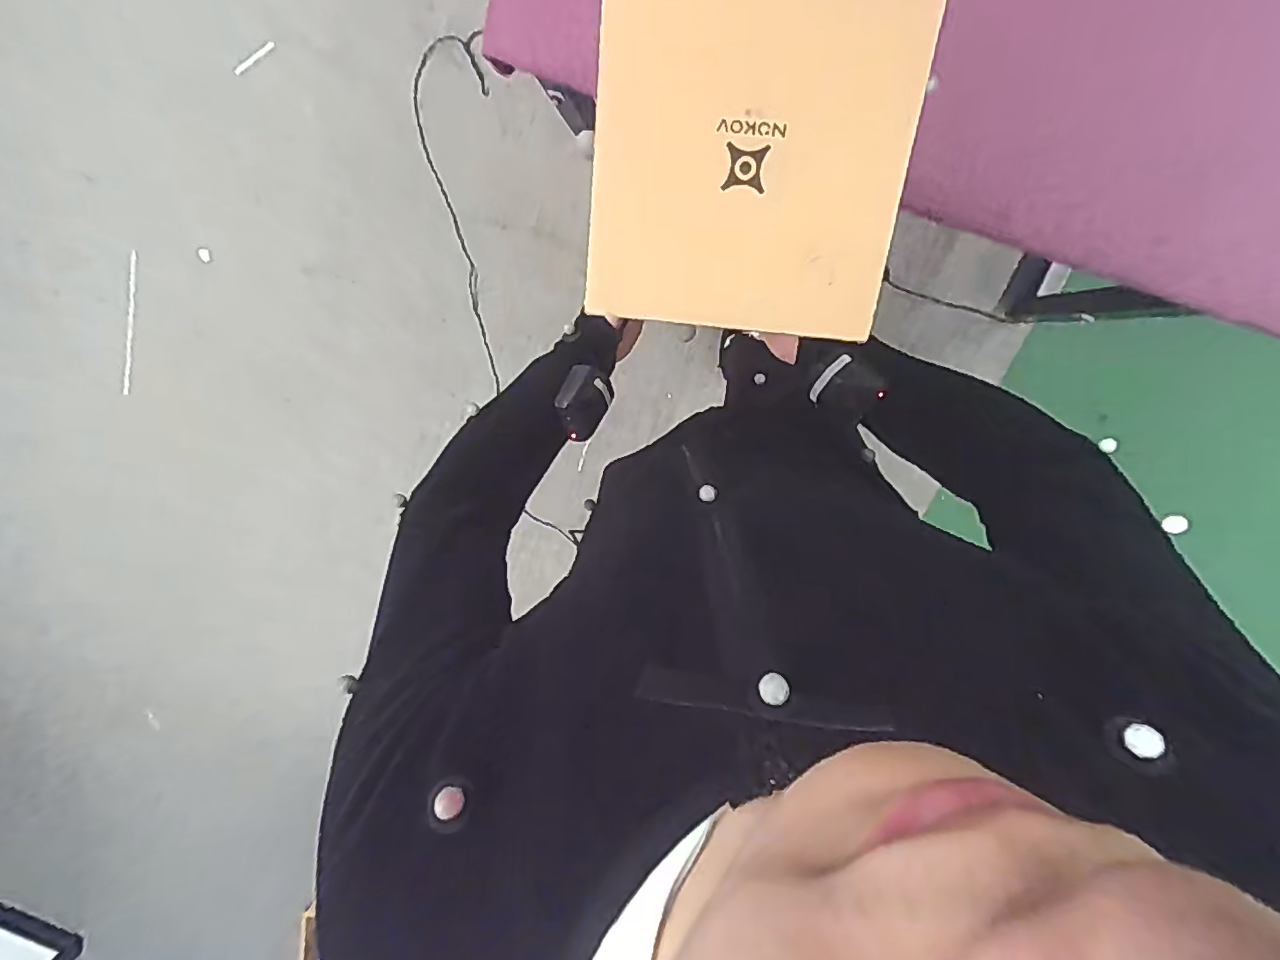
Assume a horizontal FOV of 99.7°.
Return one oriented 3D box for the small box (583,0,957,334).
[{"bbox_3d":[0.065,-0.197,0.348,0.168,0.176,0.179,7,108,3],"label":"small box"}]
